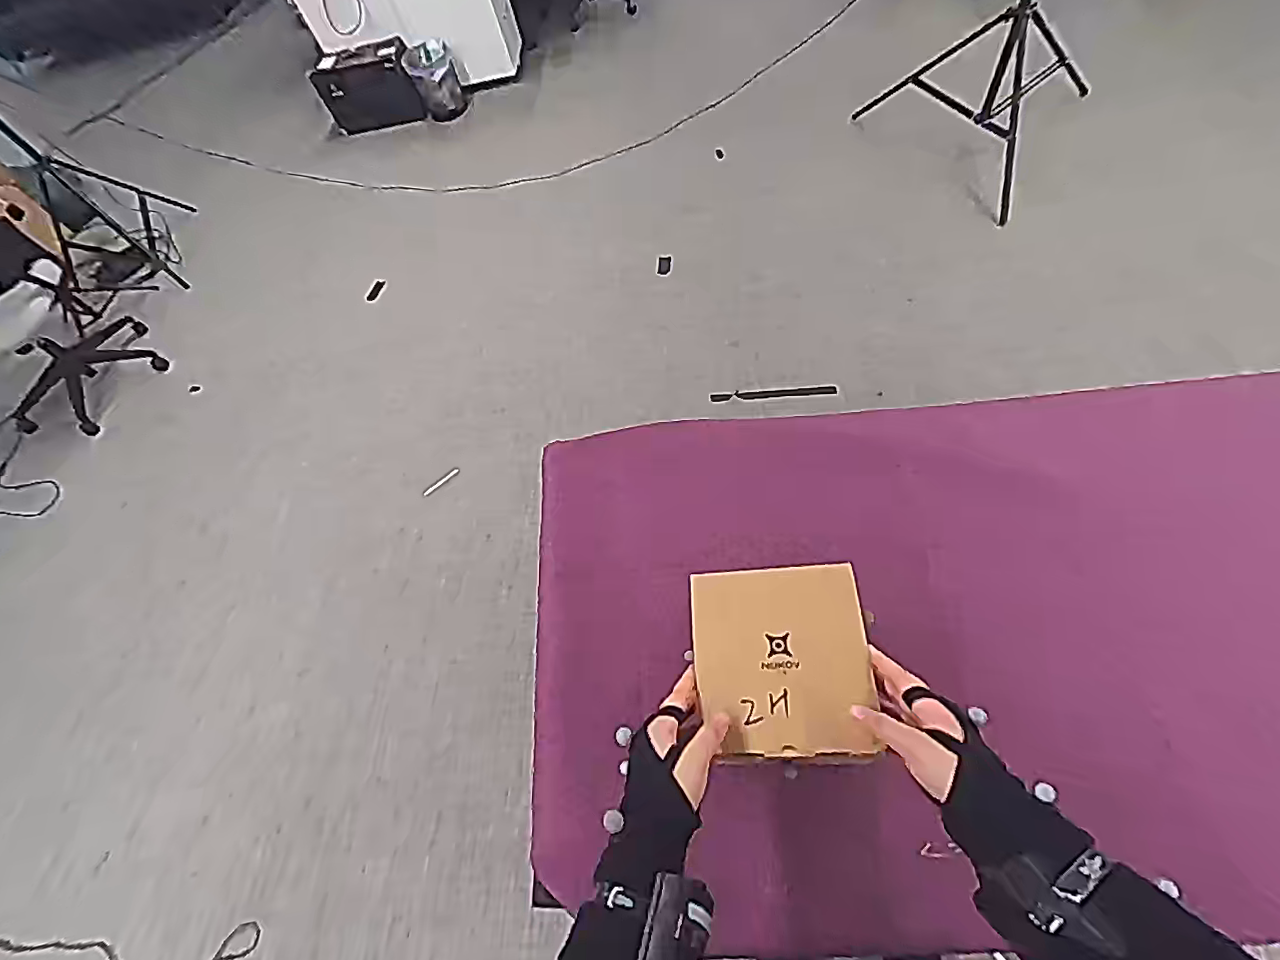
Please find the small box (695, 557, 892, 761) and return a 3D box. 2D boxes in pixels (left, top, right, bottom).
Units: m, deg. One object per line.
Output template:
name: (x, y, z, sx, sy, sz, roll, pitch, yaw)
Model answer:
small box: (0.152, 0.198, 0.578, 0.168, 0.176, 0.179, -7, 60, 12)
